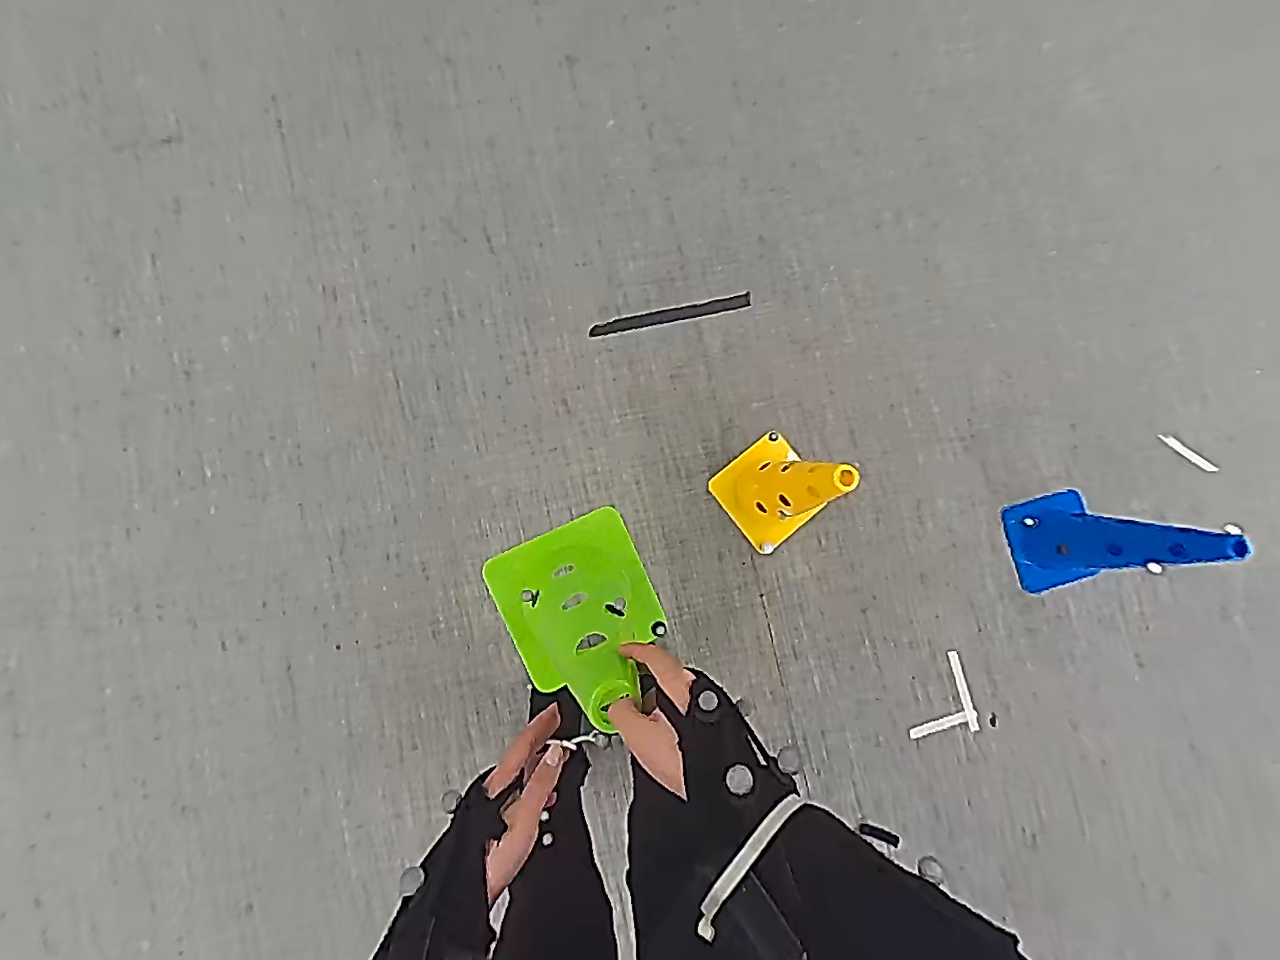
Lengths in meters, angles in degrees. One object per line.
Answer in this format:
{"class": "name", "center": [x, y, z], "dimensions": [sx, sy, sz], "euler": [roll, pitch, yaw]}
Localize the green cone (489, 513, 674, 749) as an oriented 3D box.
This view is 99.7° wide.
{"class": "green cone", "center": [-0.045, 0.164, 0.552], "dimensions": [0.202, 0.368, 0.200], "euler": [-25, 94, -9]}
